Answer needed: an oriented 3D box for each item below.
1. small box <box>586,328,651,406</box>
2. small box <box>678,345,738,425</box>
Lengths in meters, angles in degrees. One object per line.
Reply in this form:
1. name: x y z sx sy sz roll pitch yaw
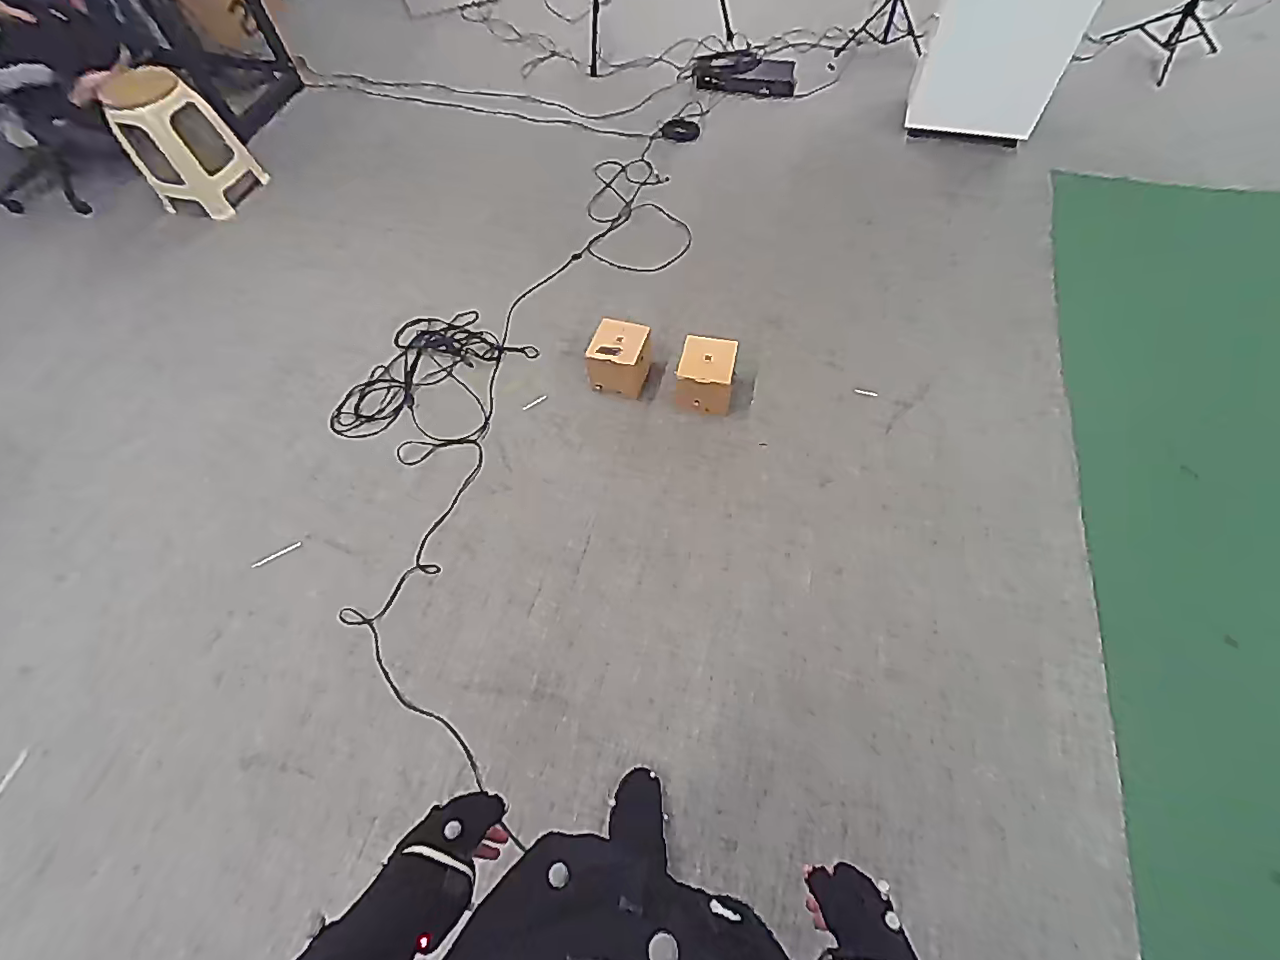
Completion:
1. small box: -0.062 -0.371 1.797 0.168 0.176 0.179 14 61 12
2. small box: 0.215 -0.306 1.742 0.168 0.176 0.179 10 61 10
